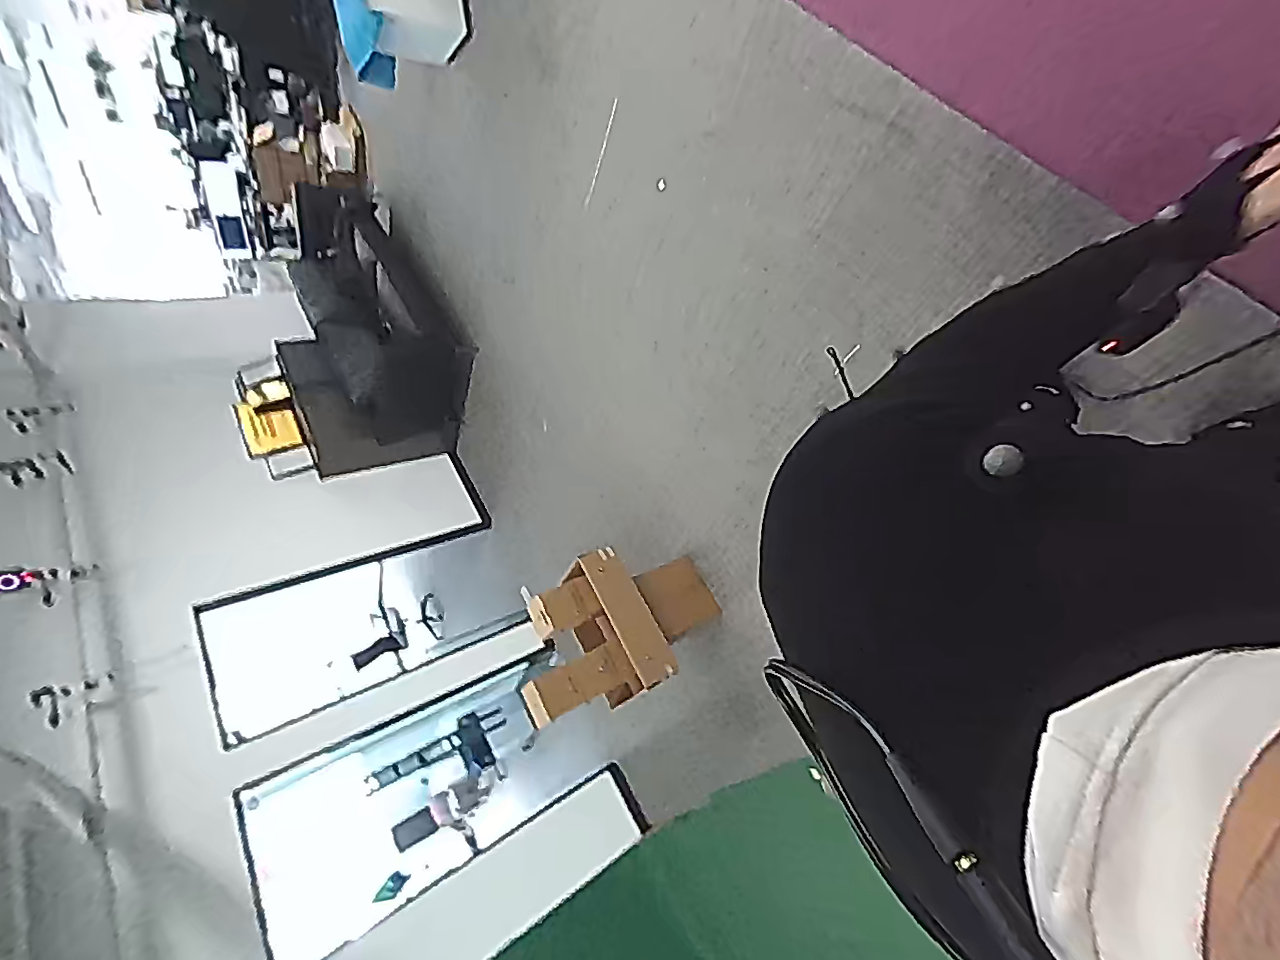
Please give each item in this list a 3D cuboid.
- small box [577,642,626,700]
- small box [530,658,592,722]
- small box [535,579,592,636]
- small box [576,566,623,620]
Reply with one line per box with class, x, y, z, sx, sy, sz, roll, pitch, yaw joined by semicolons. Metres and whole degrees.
small box;-0.185;0.799;2.245;0.168;0.176;0.179;61;143;17
small box;-0.314;0.834;2.151;0.168;0.176;0.179;60;143;18
small box;-0.327;0.549;2.346;0.168;0.176;0.179;62;143;19
small box;-0.201;0.515;2.446;0.168;0.176;0.179;60;142;20
